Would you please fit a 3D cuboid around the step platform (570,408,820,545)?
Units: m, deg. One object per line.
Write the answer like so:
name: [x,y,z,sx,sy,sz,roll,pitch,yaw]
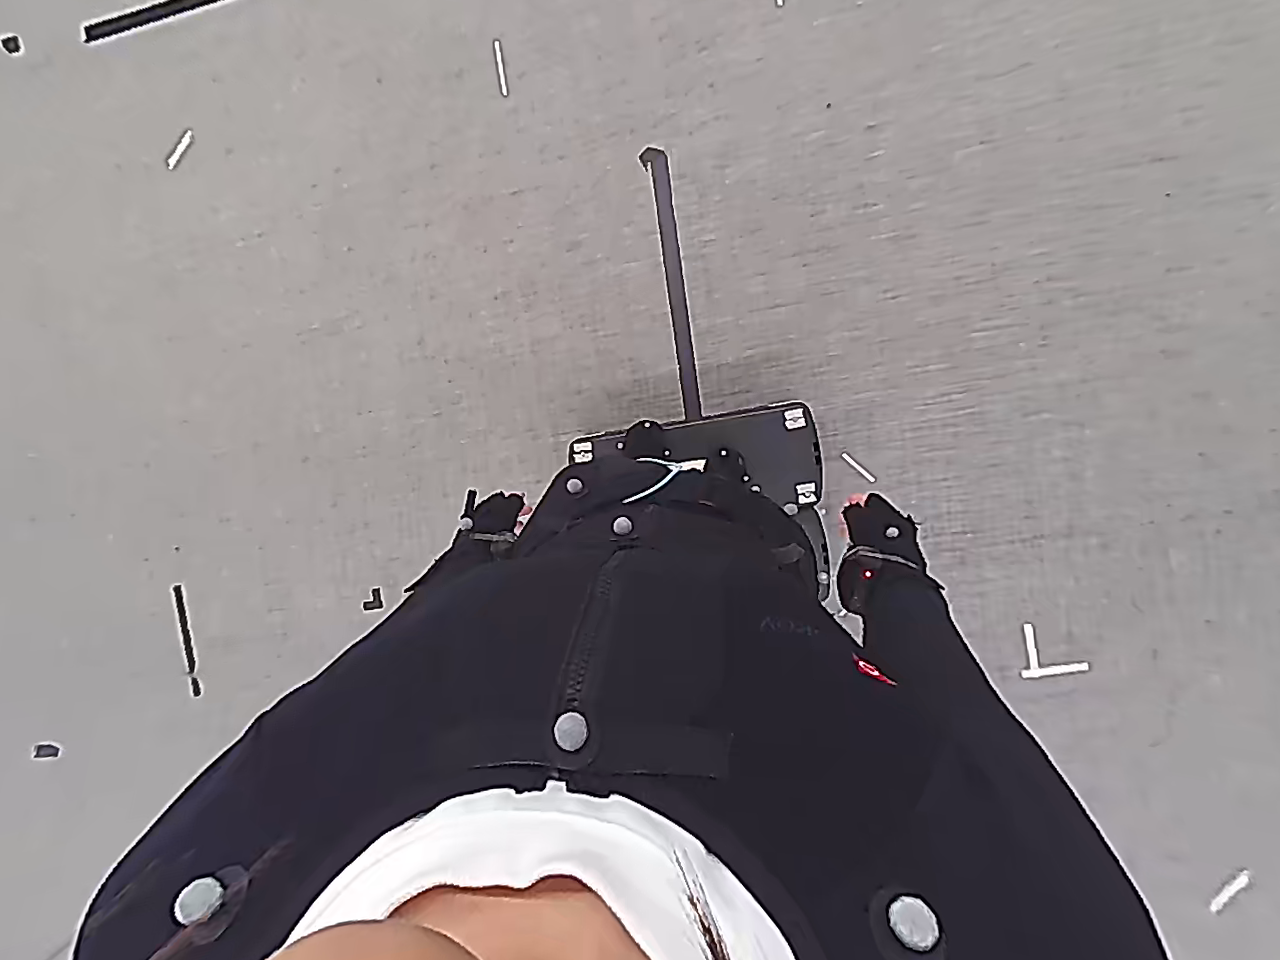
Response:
step platform: [0.146,-0.009,1.524,0.684,0.204,0.286,-10,95,7]
